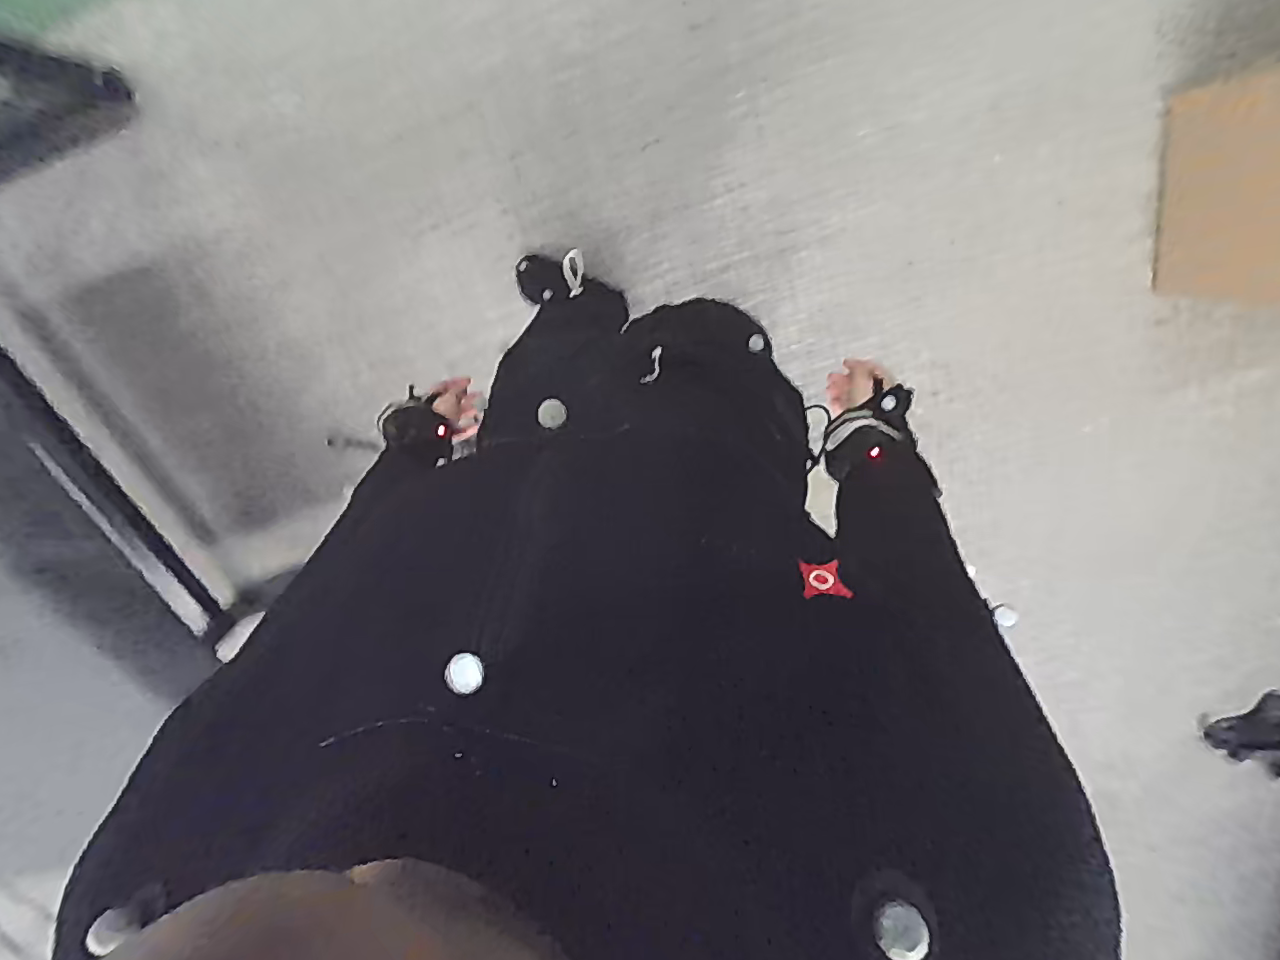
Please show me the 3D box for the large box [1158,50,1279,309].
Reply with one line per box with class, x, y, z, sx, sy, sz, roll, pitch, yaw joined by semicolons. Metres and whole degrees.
large box;1.245;-0.575;0.990;0.320;0.320;0.408;-18;115;9
